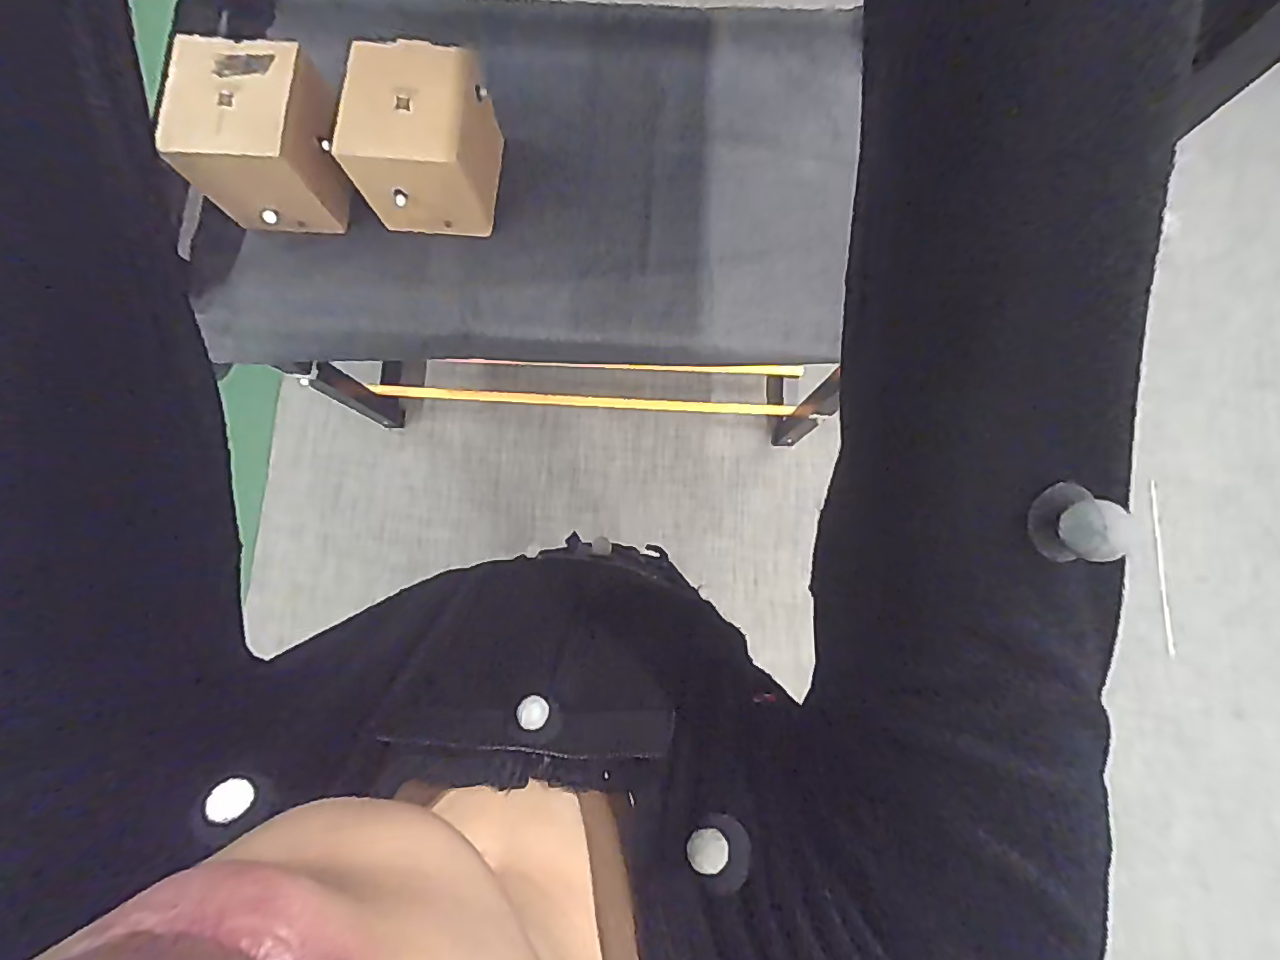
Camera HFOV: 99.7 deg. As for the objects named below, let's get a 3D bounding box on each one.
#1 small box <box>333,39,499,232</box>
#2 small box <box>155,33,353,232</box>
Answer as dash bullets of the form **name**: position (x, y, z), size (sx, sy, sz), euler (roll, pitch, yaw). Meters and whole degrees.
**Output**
- **small box**: position (-0.314, -0.492, 0.794), size (0.168, 0.176, 0.179), euler (4, 80, 0)
- **small box**: position (-0.541, -0.495, 0.789), size (0.168, 0.176, 0.179), euler (3, 81, 0)
